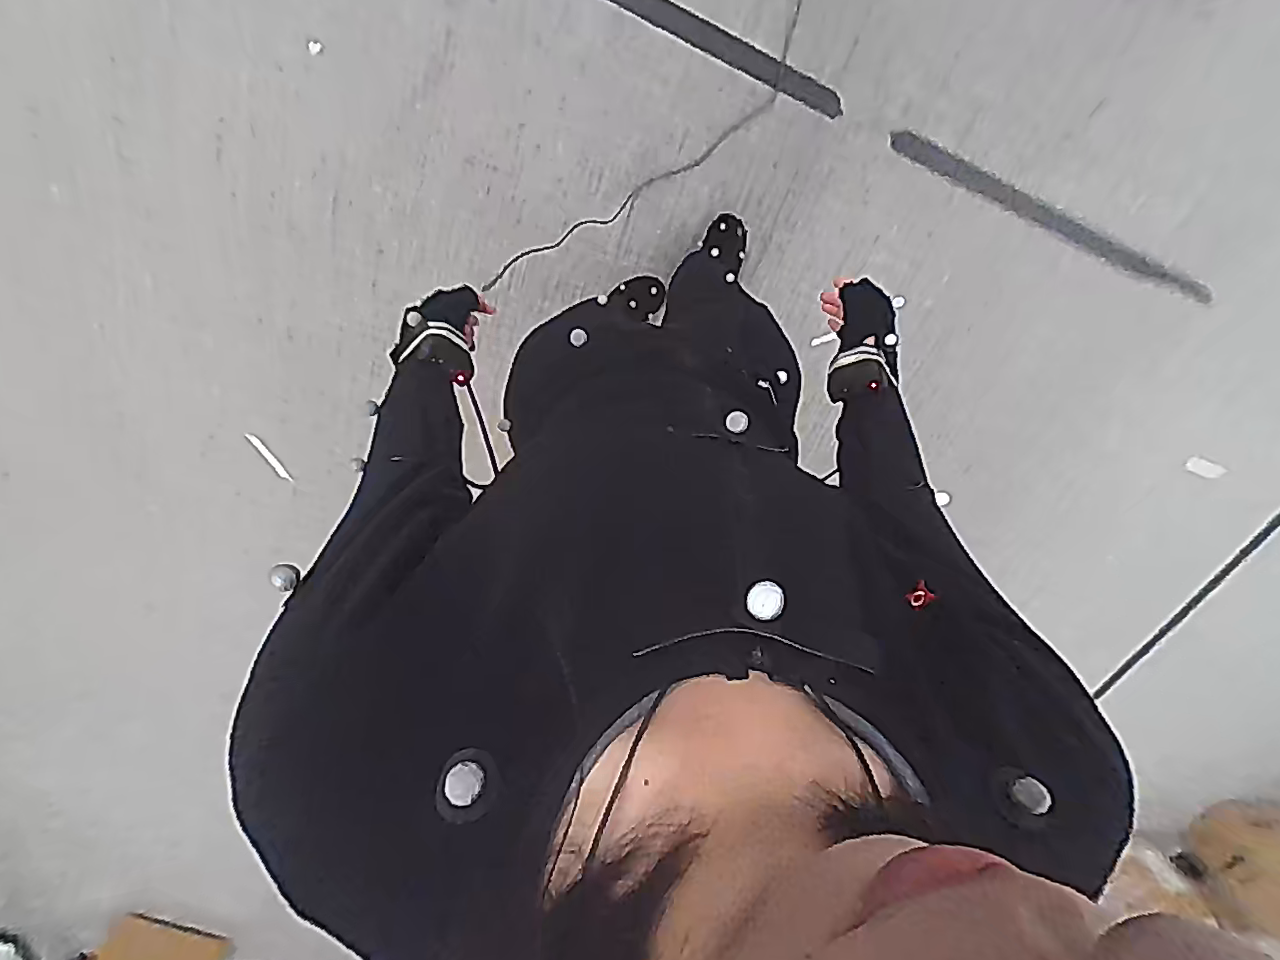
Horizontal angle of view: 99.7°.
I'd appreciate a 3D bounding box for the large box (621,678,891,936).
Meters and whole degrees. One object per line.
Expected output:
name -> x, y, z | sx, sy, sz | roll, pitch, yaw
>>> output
large box -> 0.196, 0.649, 1.091 | 0.408, 0.320, 0.320 | 15, 114, -11
